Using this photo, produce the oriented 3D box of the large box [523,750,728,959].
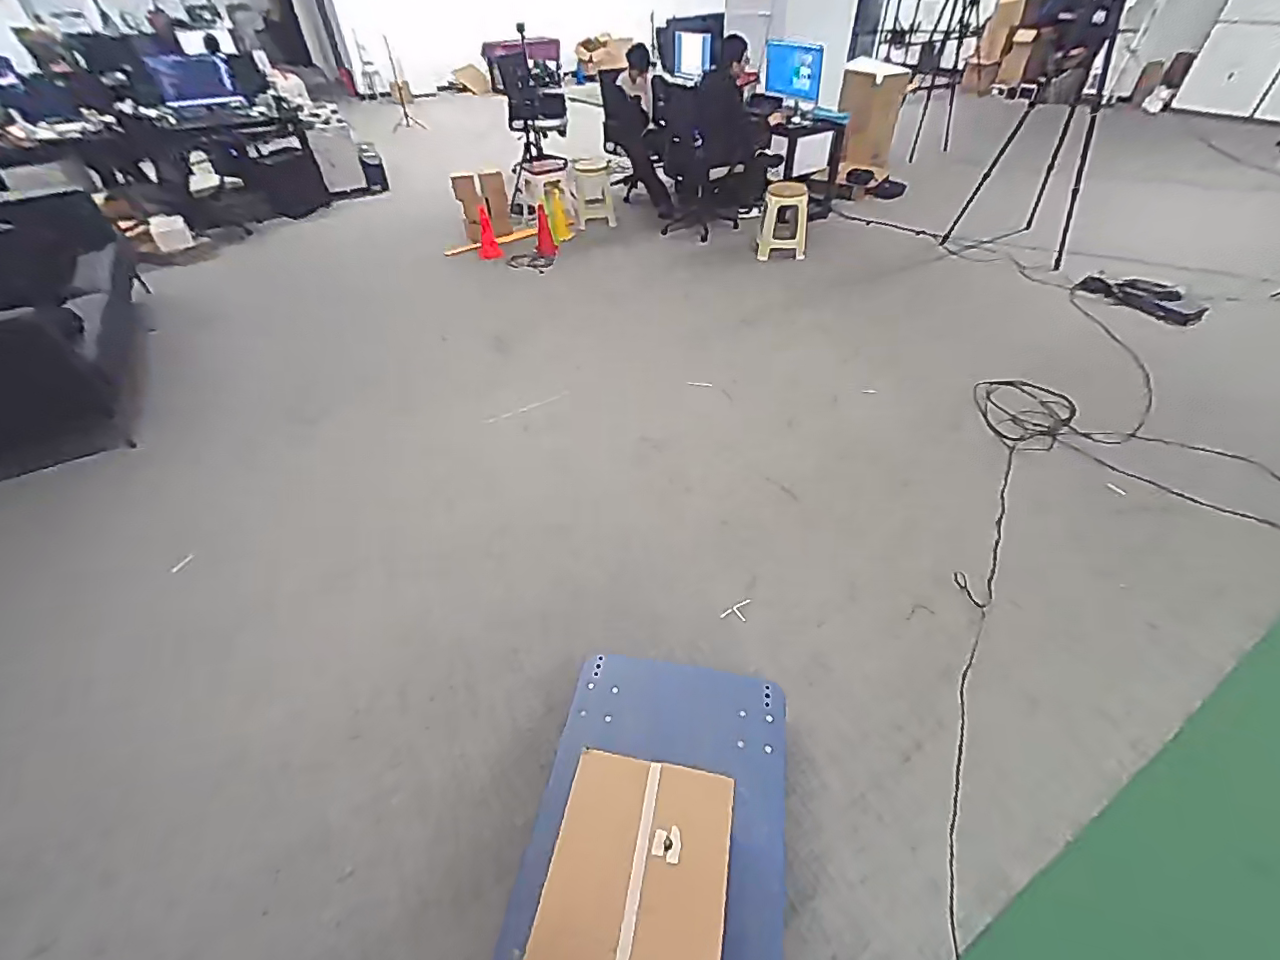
[{"bbox_3d":[-0.007,0.823,1.060,0.320,0.320,0.408,7,42,10],"label":"large box"}]
